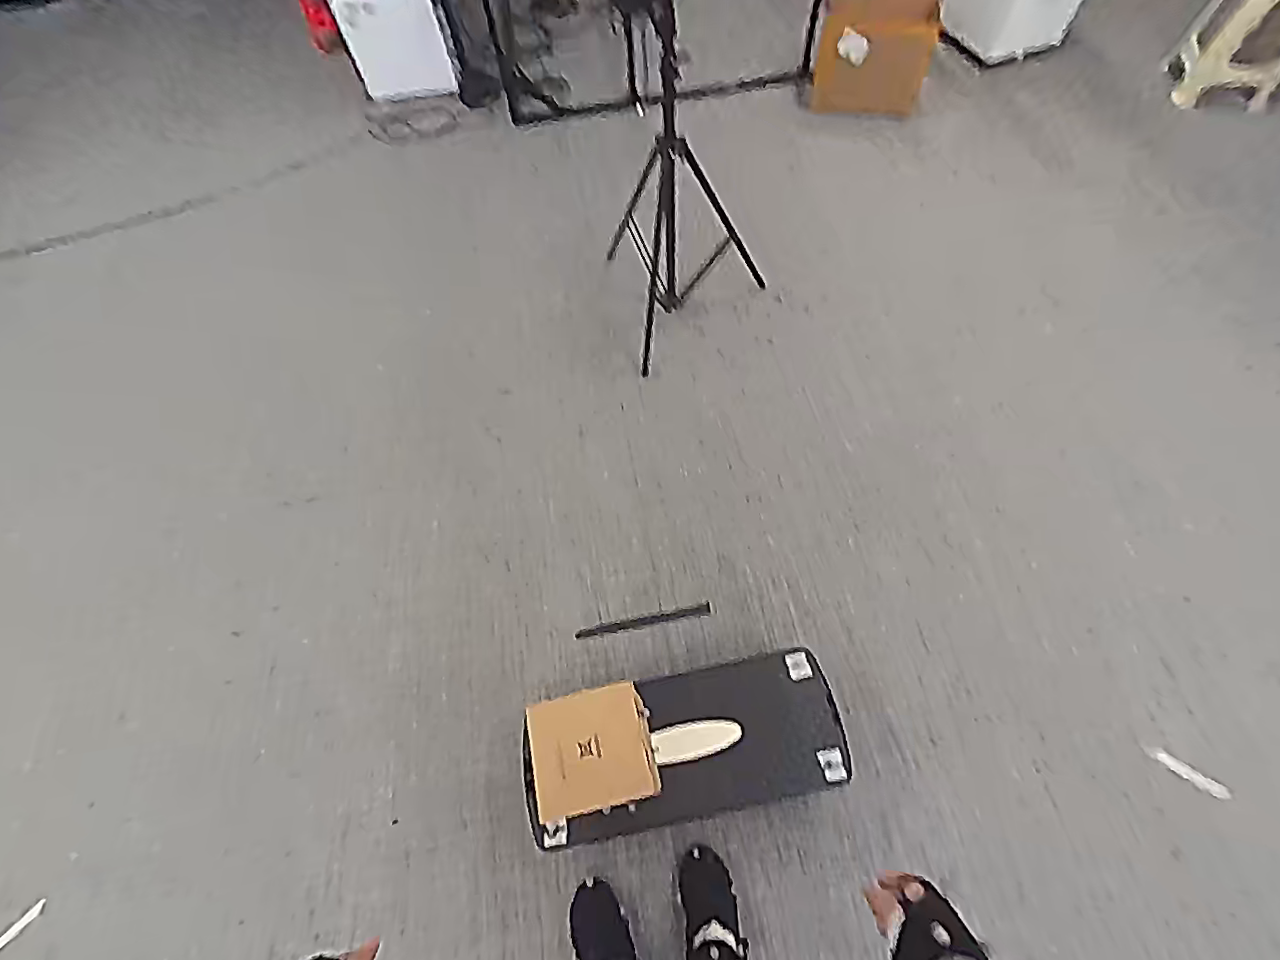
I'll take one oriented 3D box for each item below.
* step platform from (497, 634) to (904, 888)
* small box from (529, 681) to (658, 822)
[{"bbox_3d":[0.098,0.510,1.004,0.684,0.204,0.286,-11,61,-3],"label":"step platform"},{"bbox_3d":[-0.073,0.451,0.902,0.179,0.176,0.168,-14,60,-4],"label":"small box"}]
